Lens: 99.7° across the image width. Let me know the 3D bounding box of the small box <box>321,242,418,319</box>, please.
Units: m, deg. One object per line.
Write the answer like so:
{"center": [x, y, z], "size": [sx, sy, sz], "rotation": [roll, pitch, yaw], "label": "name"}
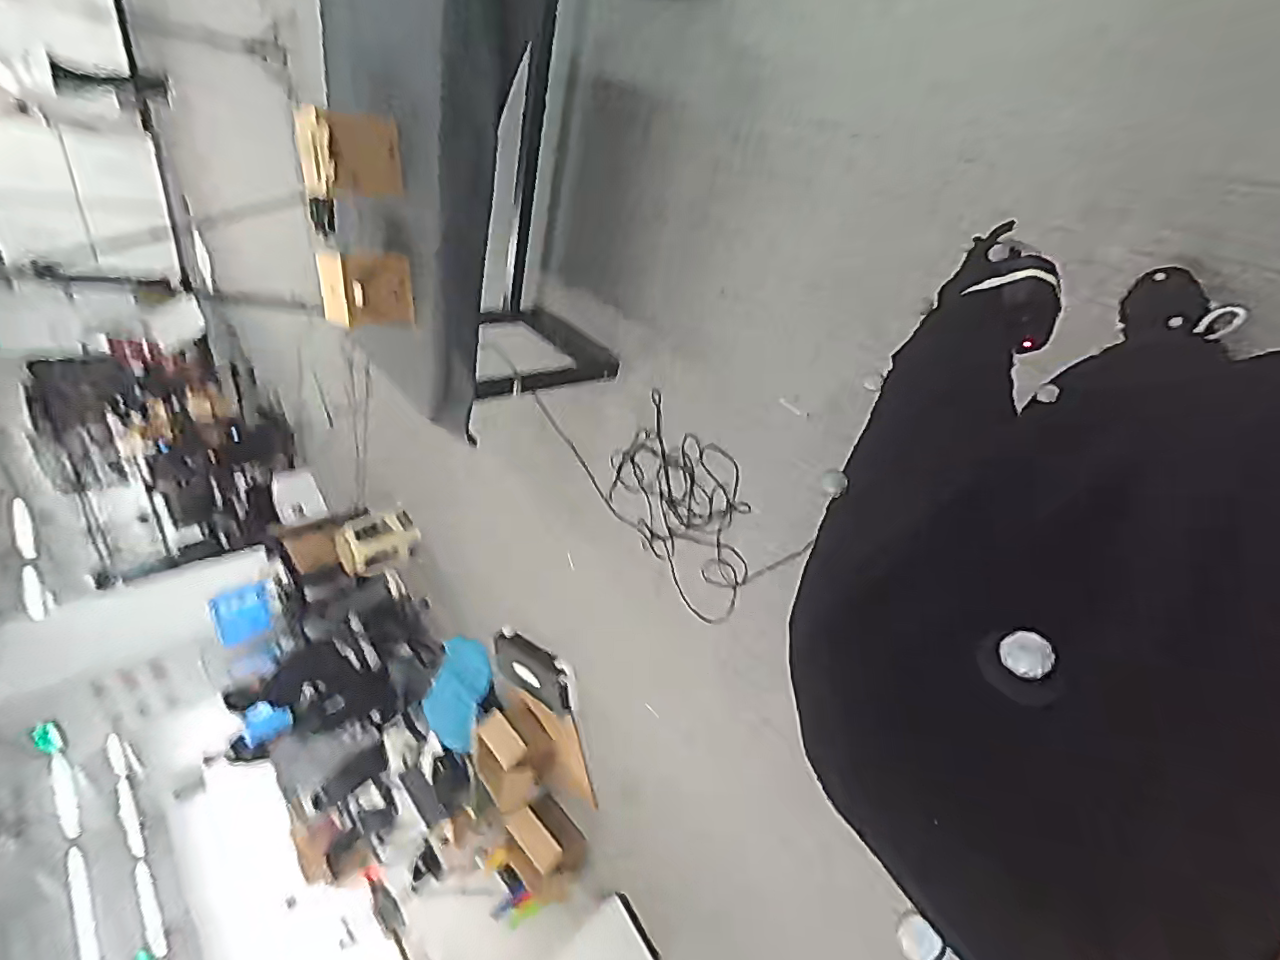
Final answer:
{"center": [-0.693, -0.514, 1.392], "size": [0.179, 0.176, 0.168], "rotation": [25, 121, 39], "label": "small box"}
